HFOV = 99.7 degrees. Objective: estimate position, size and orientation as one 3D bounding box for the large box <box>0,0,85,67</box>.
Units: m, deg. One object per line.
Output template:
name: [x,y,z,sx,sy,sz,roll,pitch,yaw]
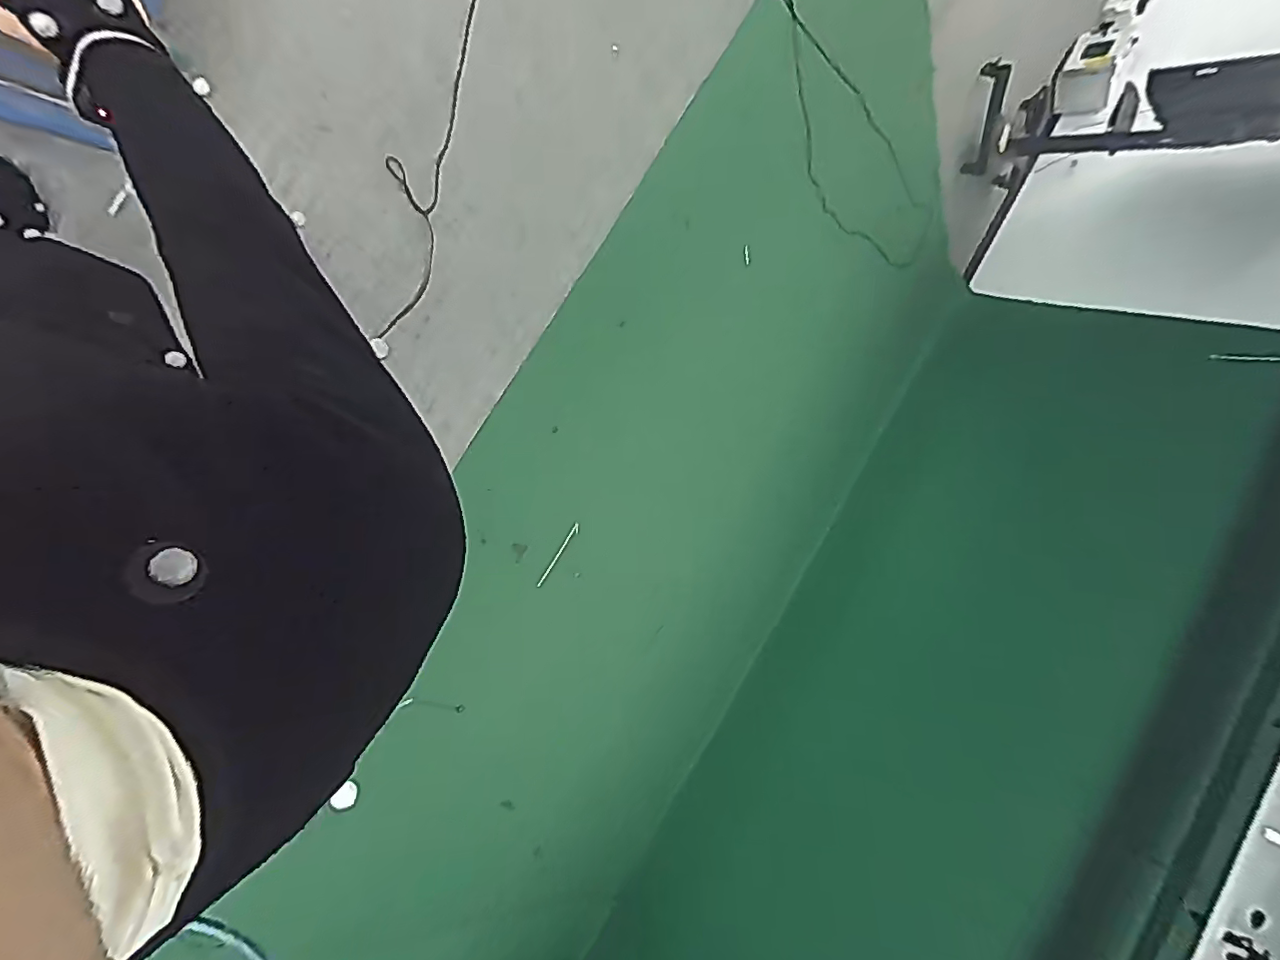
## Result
large box: [-0.901,-0.819,0.652,0.320,0.320,0.408,-1,110,-48]
